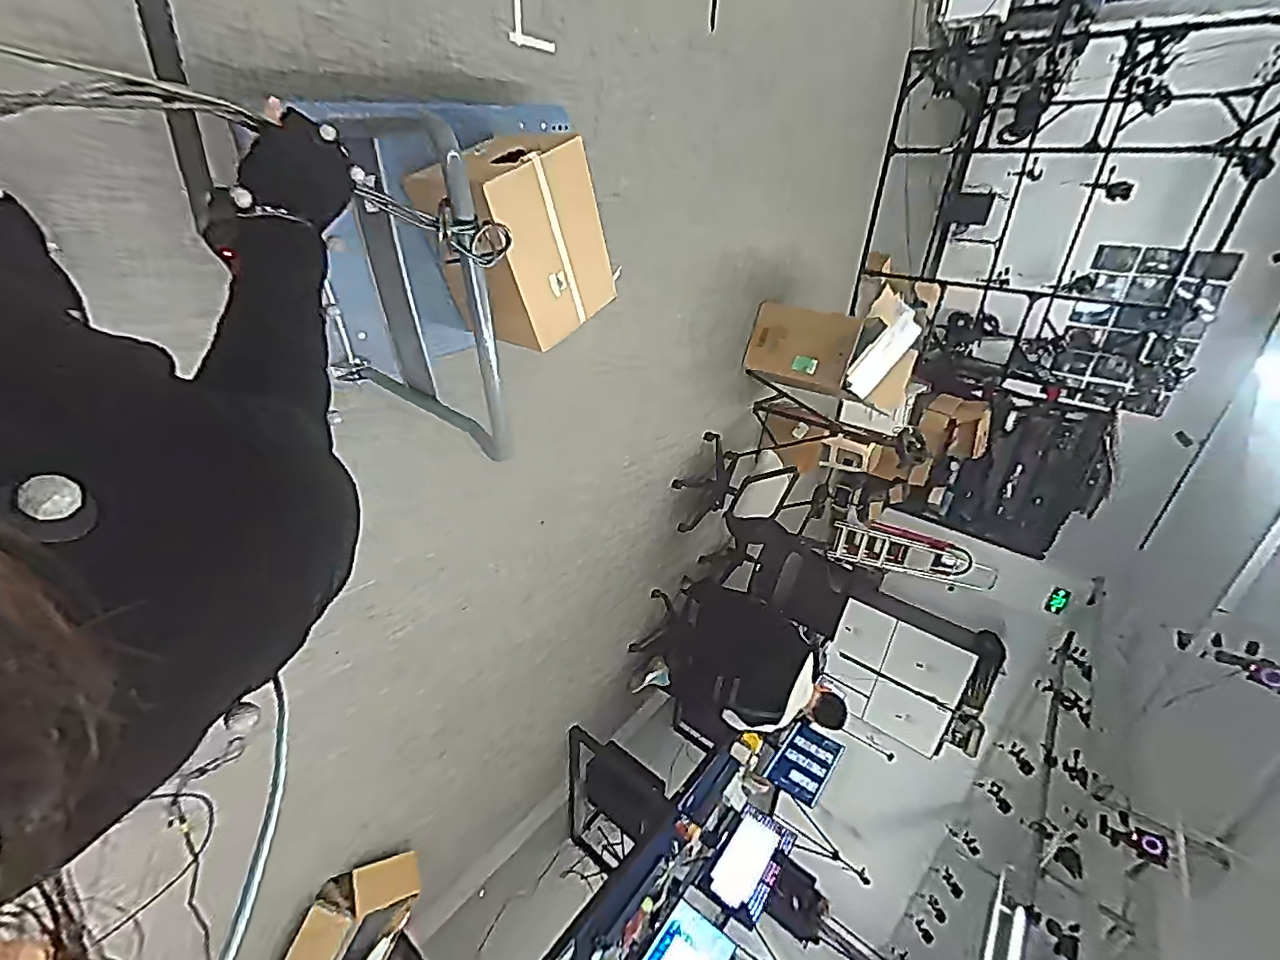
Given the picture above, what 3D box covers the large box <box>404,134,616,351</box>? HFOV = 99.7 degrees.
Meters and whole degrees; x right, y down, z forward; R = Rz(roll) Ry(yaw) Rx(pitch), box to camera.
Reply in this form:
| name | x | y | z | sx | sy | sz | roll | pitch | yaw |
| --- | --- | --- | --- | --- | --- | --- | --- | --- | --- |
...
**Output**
| name | x | y | z | sx | sy | sz | roll | pitch | yaw |
| --- | --- | --- | --- | --- | --- | --- | --- | --- | --- |
| large box | -0.311 | -0.606 | 1.382 | 0.320 | 0.320 | 0.408 | -47 | 143 | -28 |
